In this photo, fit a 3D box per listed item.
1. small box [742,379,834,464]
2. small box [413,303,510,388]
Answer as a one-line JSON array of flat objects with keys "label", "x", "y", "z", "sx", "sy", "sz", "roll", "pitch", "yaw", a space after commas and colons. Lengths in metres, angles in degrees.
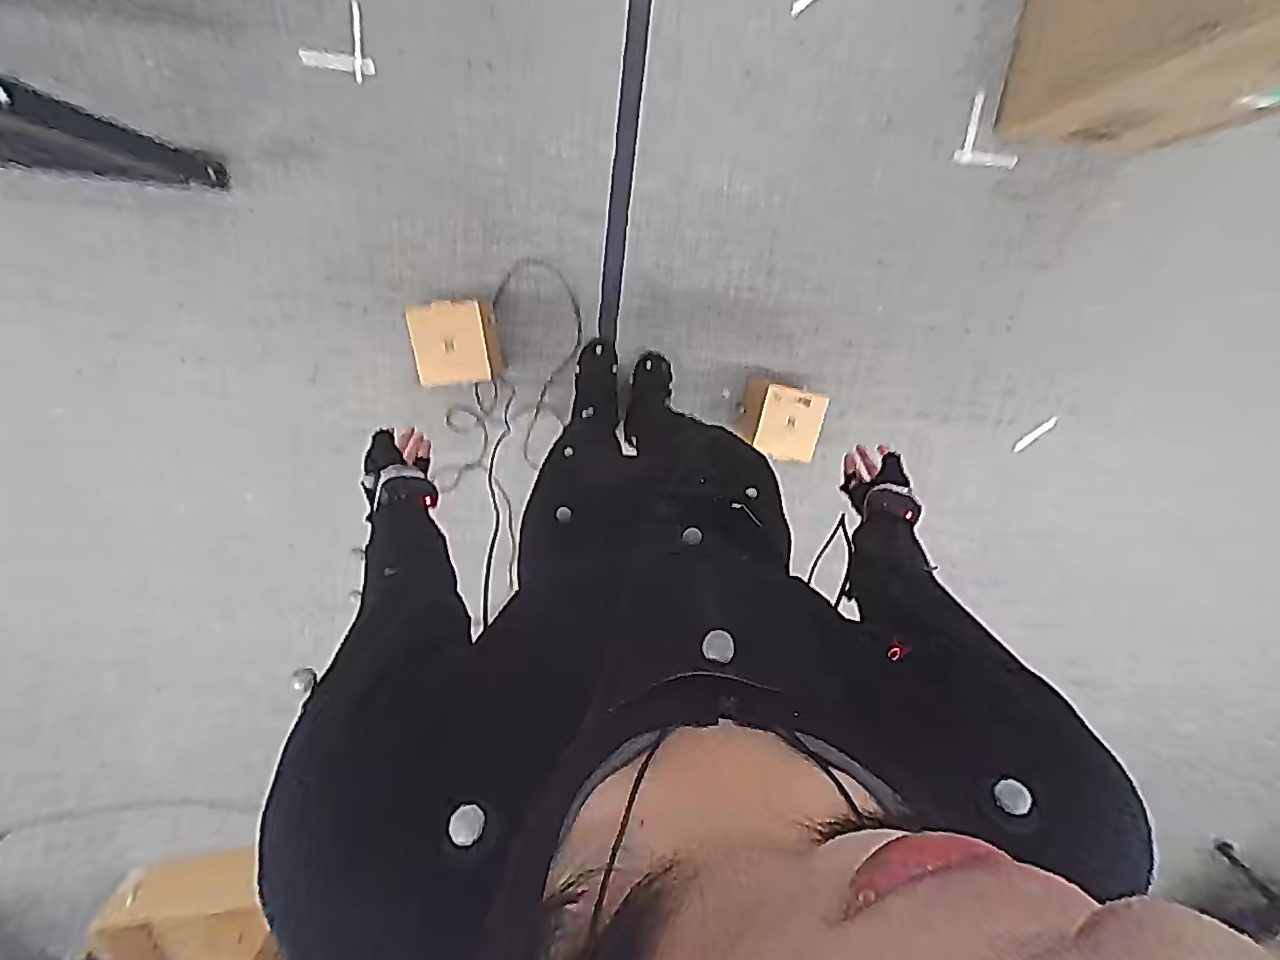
[{"label": "small box", "x": 0.383, "y": -0.159, "z": 1.437, "sx": 0.168, "sy": 0.176, "sz": 0.179, "roll": 10, "pitch": 106, "yaw": -9}, {"label": "small box", "x": -0.422, "y": -0.326, "z": 1.307, "sx": 0.168, "sy": 0.176, "sz": 0.179, "roll": -7, "pitch": 108, "yaw": 0}]
